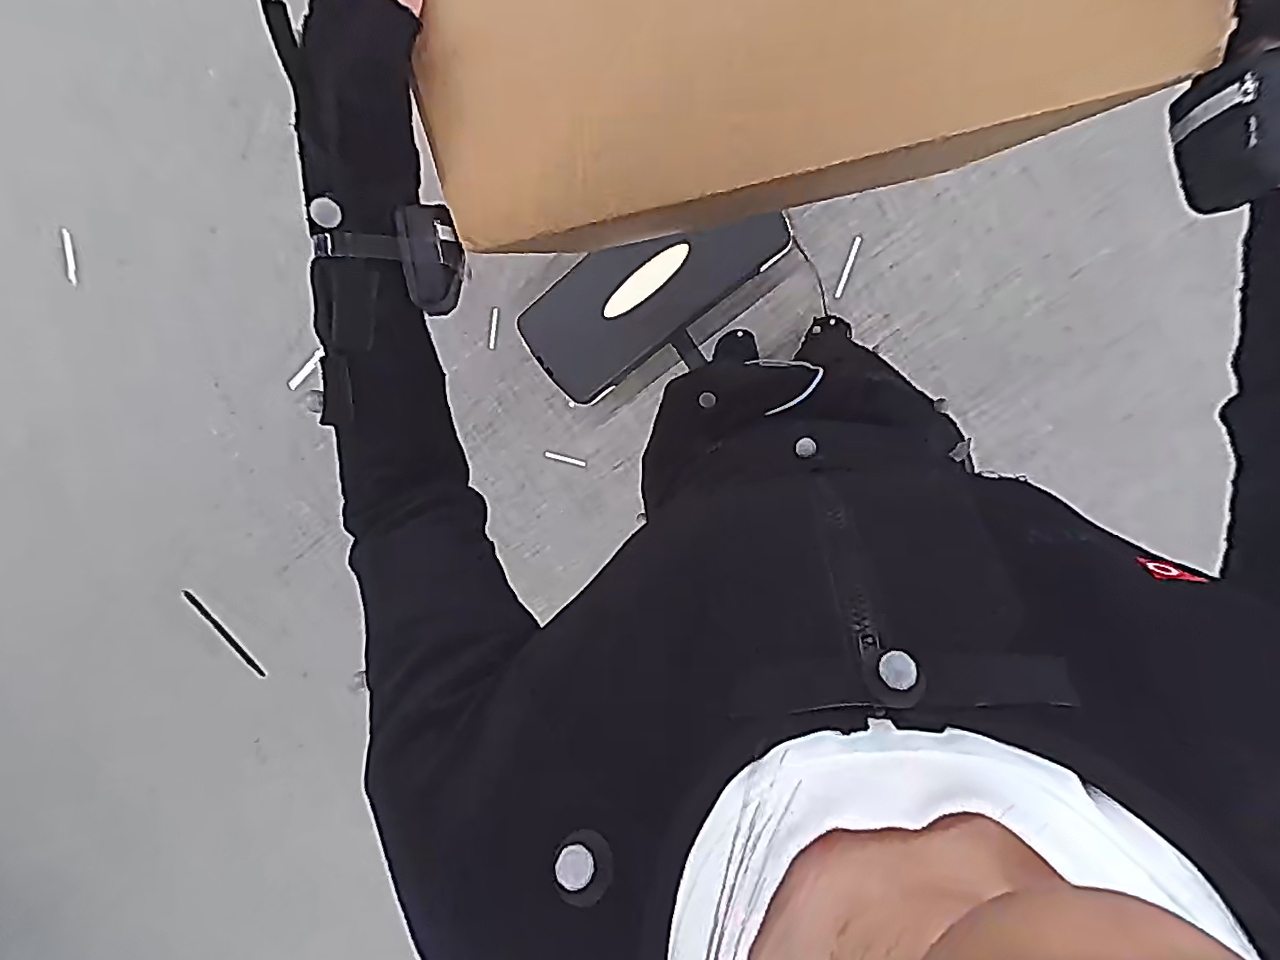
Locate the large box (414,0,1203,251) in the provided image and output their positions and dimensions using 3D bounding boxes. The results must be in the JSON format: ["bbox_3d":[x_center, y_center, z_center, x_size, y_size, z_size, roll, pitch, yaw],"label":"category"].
[{"bbox_3d":[0.076,-0.379,0.399,0.408,0.320,0.320,-8,111,11],"label":"large box"}]
